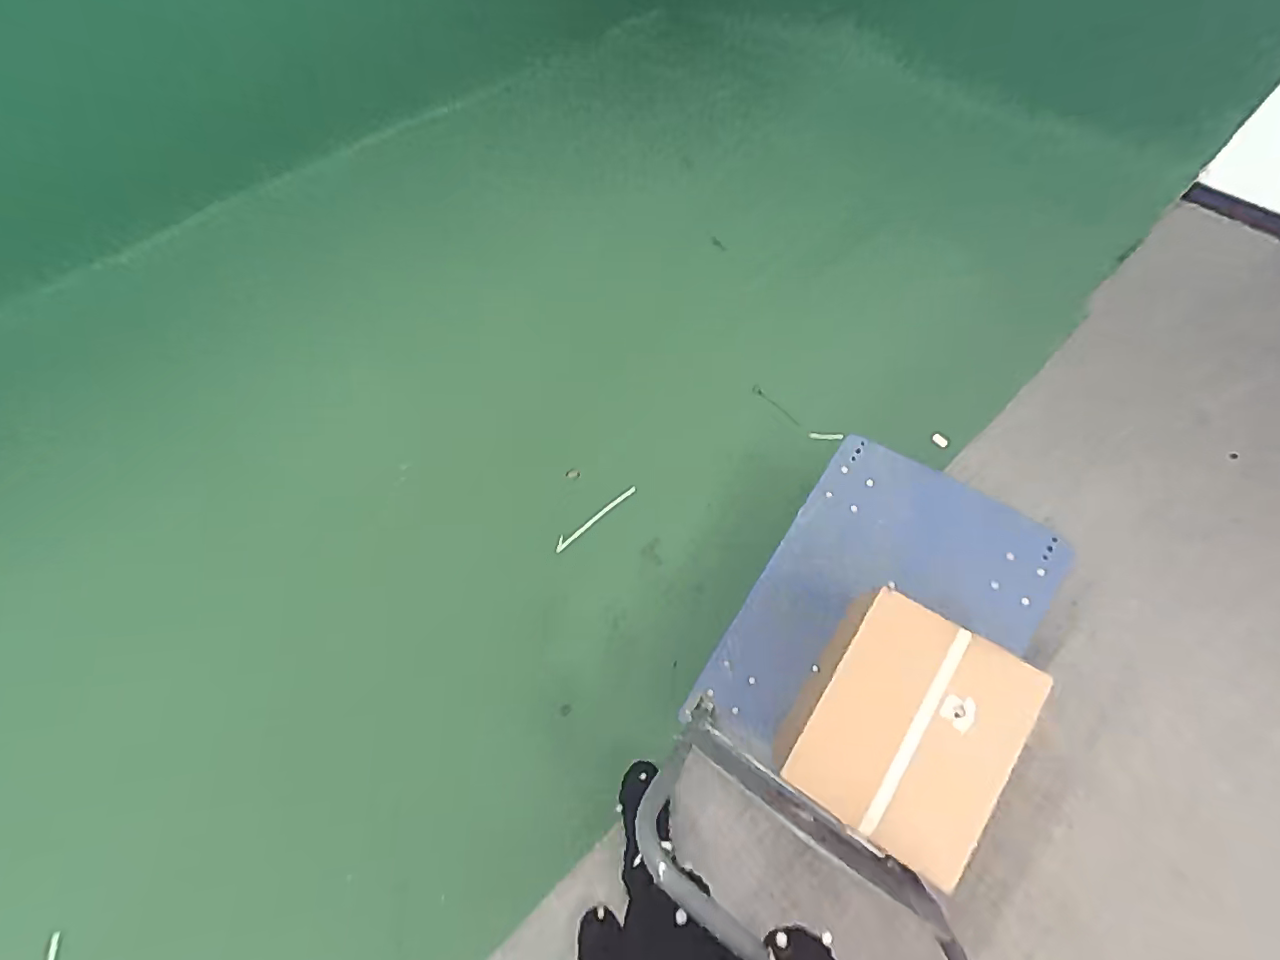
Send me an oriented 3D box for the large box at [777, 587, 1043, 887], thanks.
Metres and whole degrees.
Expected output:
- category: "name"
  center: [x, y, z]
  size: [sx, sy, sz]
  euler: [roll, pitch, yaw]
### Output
- category: "large box"
  center: [0.513, 0.485, 1.107]
  size: [0.320, 0.320, 0.408]
  euler: [29, 80, 17]
